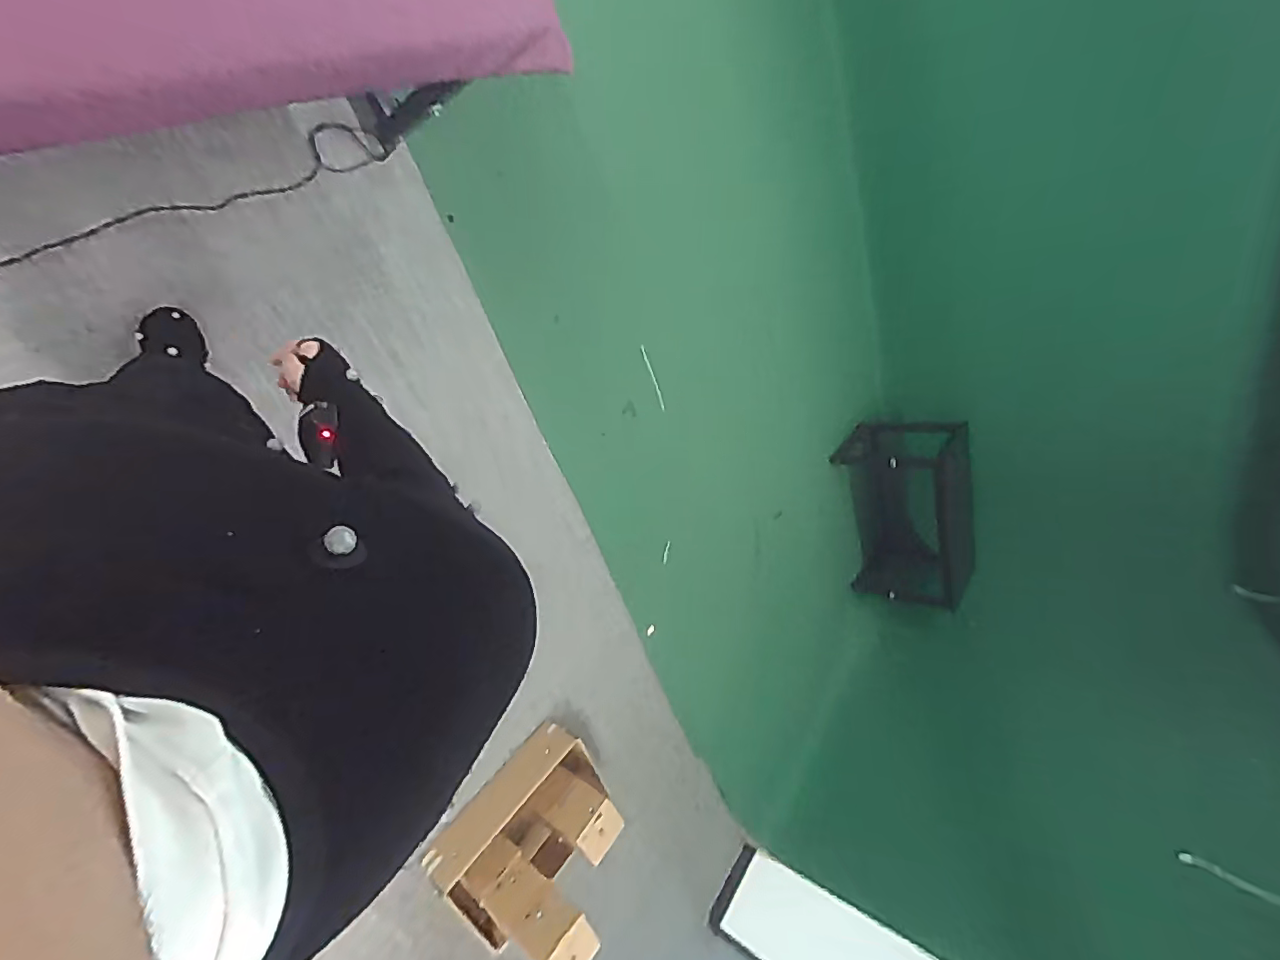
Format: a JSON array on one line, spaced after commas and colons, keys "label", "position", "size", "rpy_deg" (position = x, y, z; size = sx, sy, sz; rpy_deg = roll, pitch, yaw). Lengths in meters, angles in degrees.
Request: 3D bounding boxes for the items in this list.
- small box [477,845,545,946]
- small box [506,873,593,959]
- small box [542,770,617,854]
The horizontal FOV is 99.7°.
[{"label": "small box", "position": [-0.398, 1.349, 1.767], "size": [0.168, 0.176, 0.179], "rpy_deg": [-37, 119, -38]}, {"label": "small box", "position": [-0.278, 1.359, 1.653], "size": [0.168, 0.176, 0.179], "rpy_deg": [-37, 119, -39]}, {"label": "small box", "position": [-0.219, 1.180, 1.937], "size": [0.168, 0.176, 0.179], "rpy_deg": [-46, 127, -37]}]
